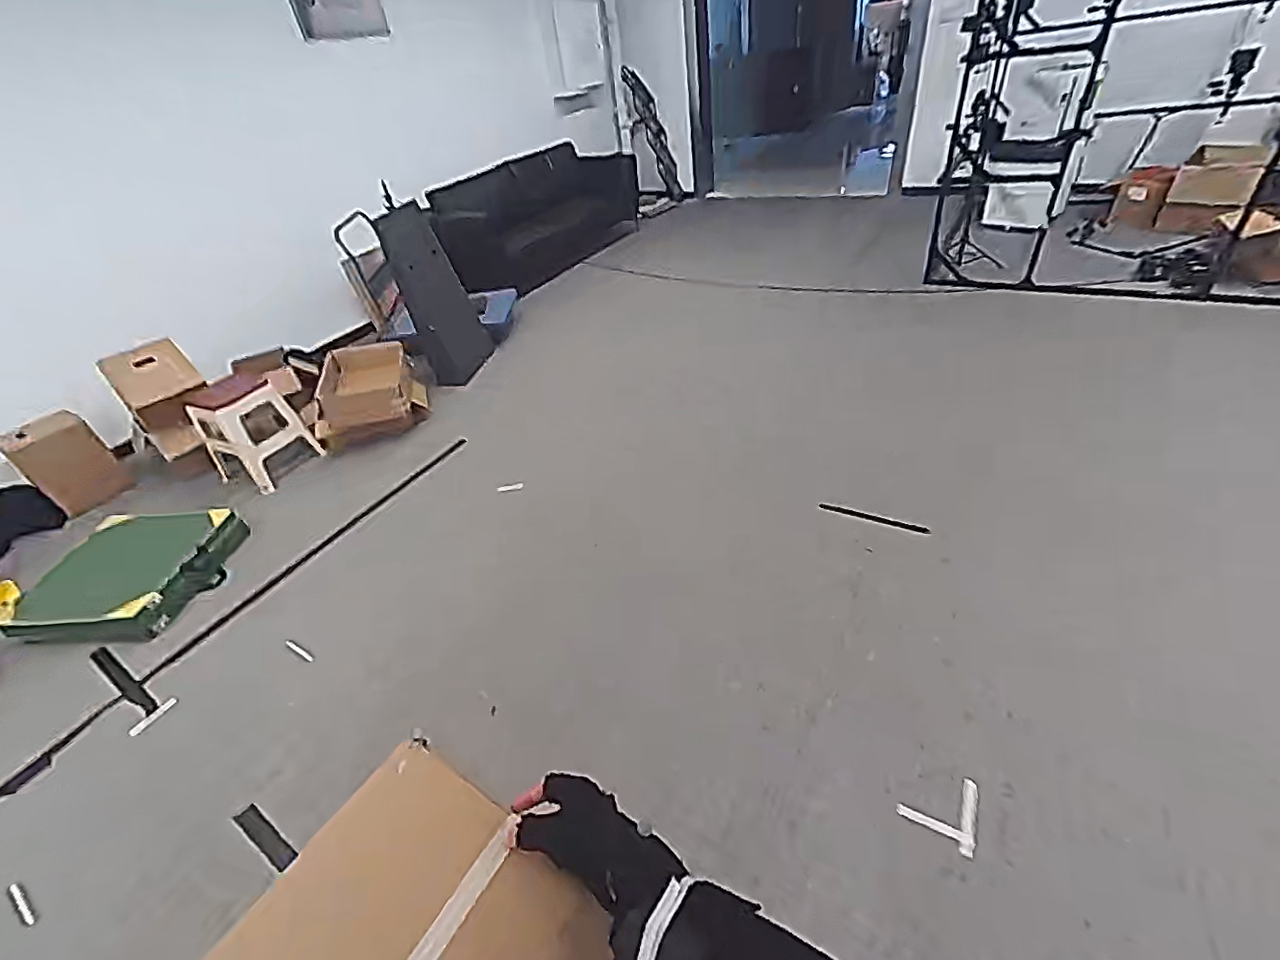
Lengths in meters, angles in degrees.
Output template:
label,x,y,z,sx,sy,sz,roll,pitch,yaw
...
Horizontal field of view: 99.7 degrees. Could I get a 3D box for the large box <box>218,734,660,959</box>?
label,x,y,z,sx,sy,sz,roll,pitch,yaw
large box,-0.209,0.553,0.507,0.320,0.320,0.408,22,47,25
